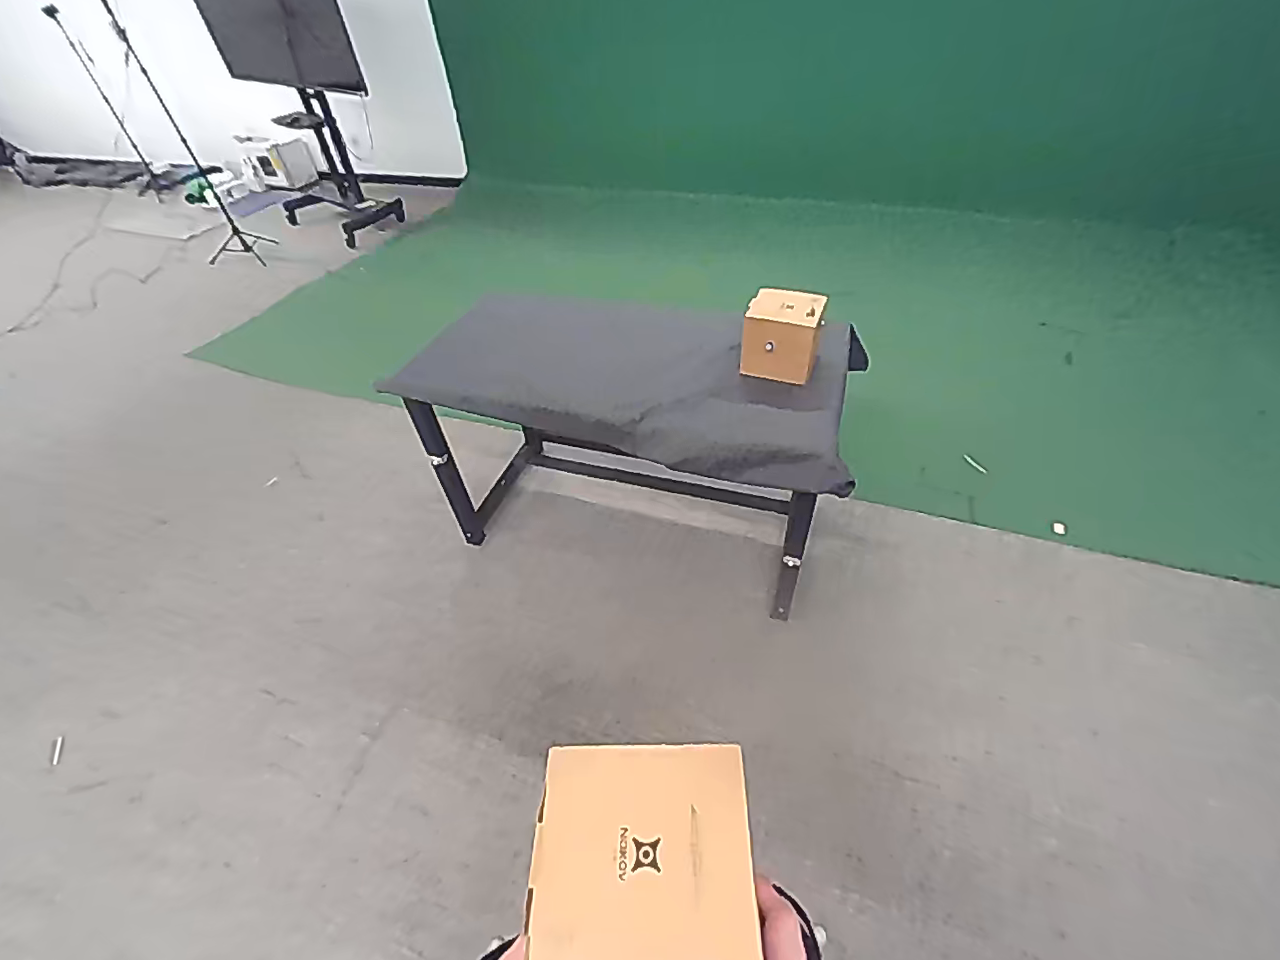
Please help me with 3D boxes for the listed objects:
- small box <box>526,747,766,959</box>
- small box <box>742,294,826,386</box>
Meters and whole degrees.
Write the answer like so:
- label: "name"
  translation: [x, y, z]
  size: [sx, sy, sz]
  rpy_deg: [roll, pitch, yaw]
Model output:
- label: "small box"
  translation: [0.012, 0.354, 0.486]
  size: [0.179, 0.176, 0.168]
  rpy_deg: [-3, 47, 4]
- label: "small box"
  translation: [0.370, -0.363, 1.410]
  size: [0.179, 0.176, 0.168]
  rpy_deg: [14, 48, 20]
